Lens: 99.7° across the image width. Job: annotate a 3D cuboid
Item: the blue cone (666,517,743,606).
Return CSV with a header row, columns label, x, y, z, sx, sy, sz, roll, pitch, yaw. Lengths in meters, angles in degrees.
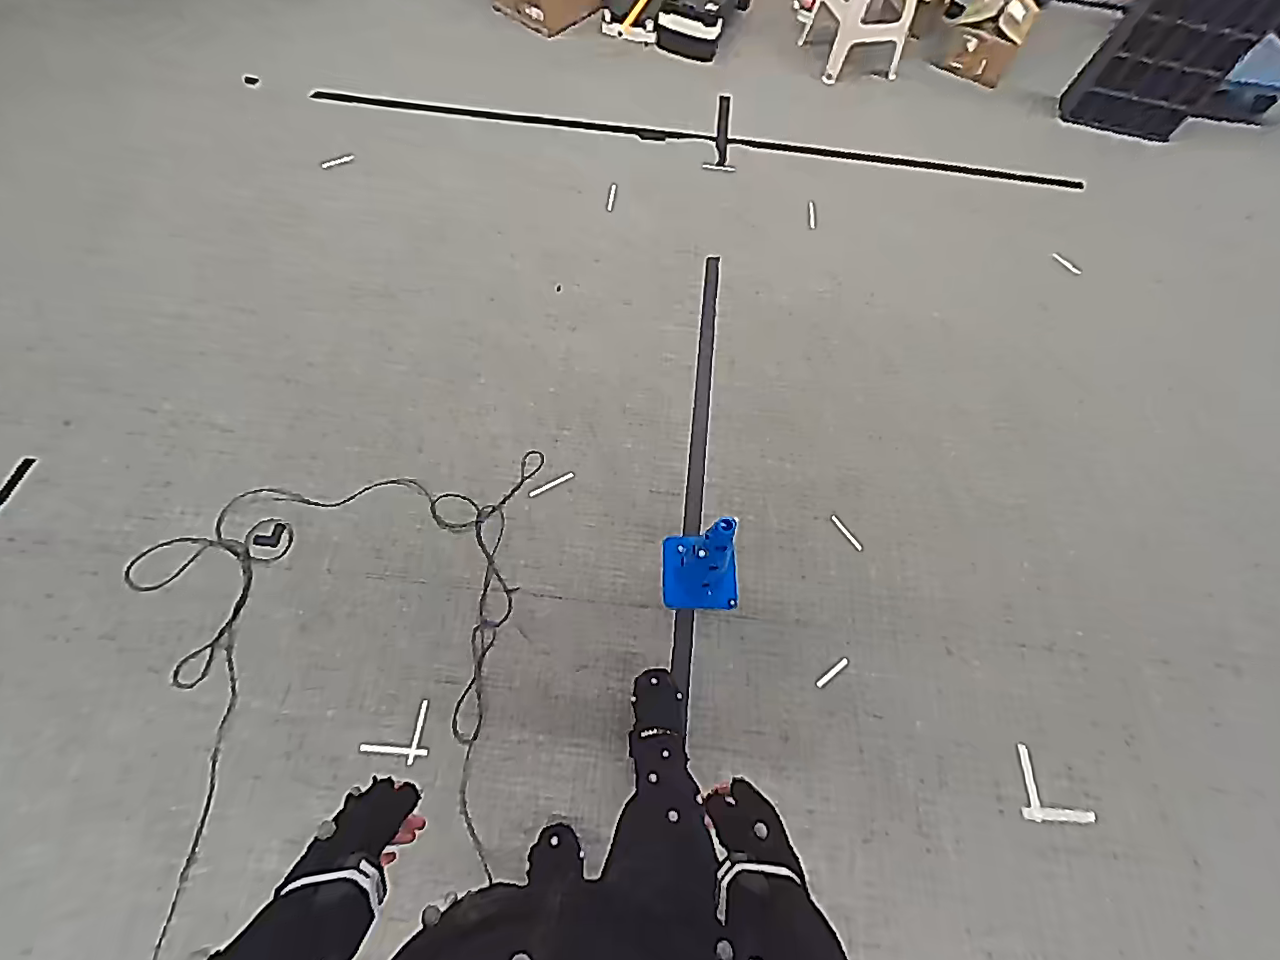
label,x,y,z,sx,sy,sz,roll,pitch,yaw
blue cone,0.179,0.177,1.327,0.192,0.380,0.193,5,64,-3
